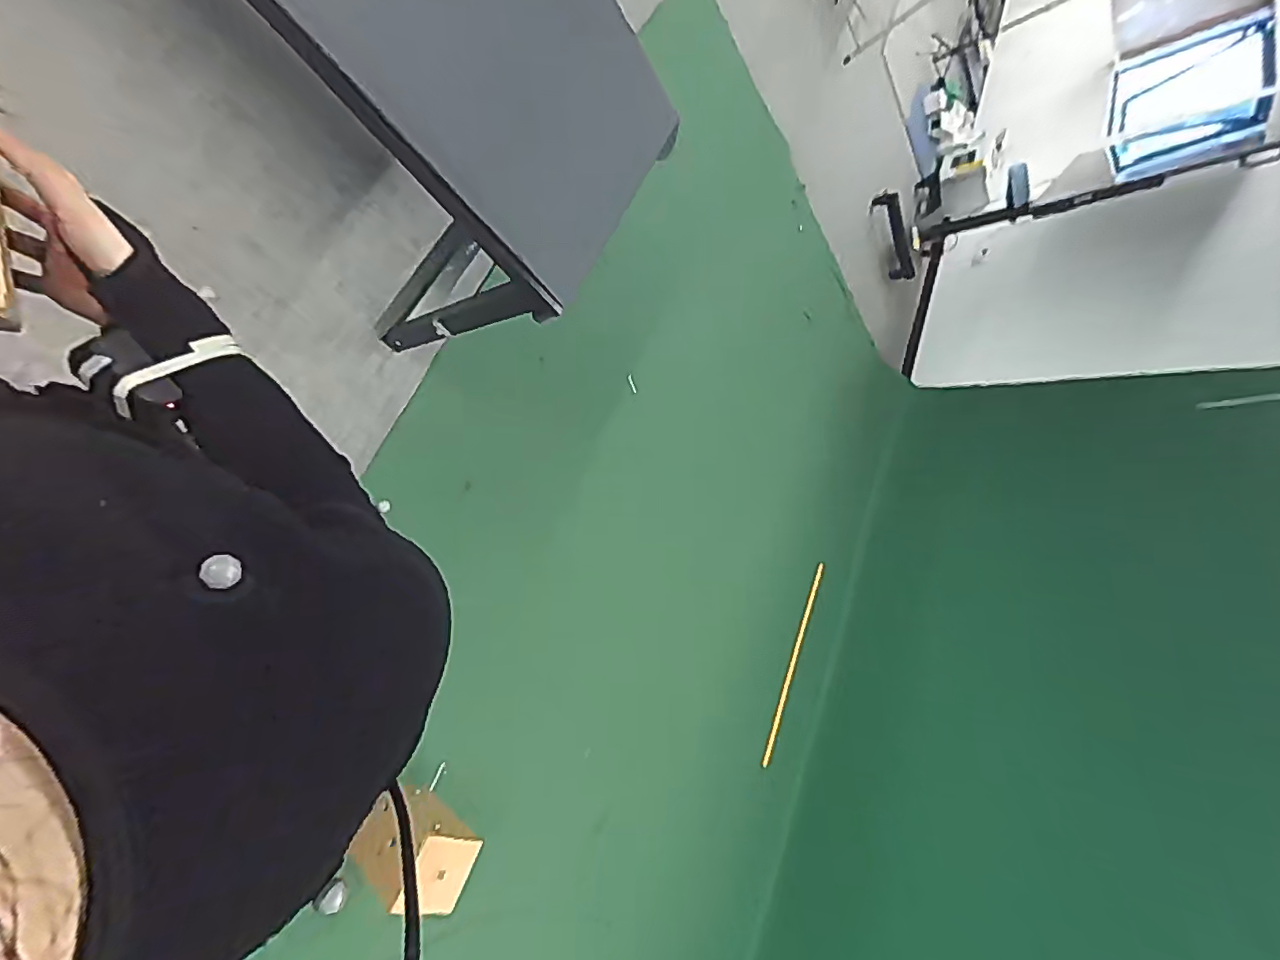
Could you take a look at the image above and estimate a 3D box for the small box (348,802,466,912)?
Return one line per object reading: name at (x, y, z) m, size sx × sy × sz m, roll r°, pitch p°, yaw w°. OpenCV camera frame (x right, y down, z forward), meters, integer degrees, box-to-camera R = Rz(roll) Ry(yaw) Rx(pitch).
small box at (-0.579, 0.930, 1.341) m, size 0.179 × 0.176 × 0.168 m, roll 43°, pitch 63°, yaw -41°
